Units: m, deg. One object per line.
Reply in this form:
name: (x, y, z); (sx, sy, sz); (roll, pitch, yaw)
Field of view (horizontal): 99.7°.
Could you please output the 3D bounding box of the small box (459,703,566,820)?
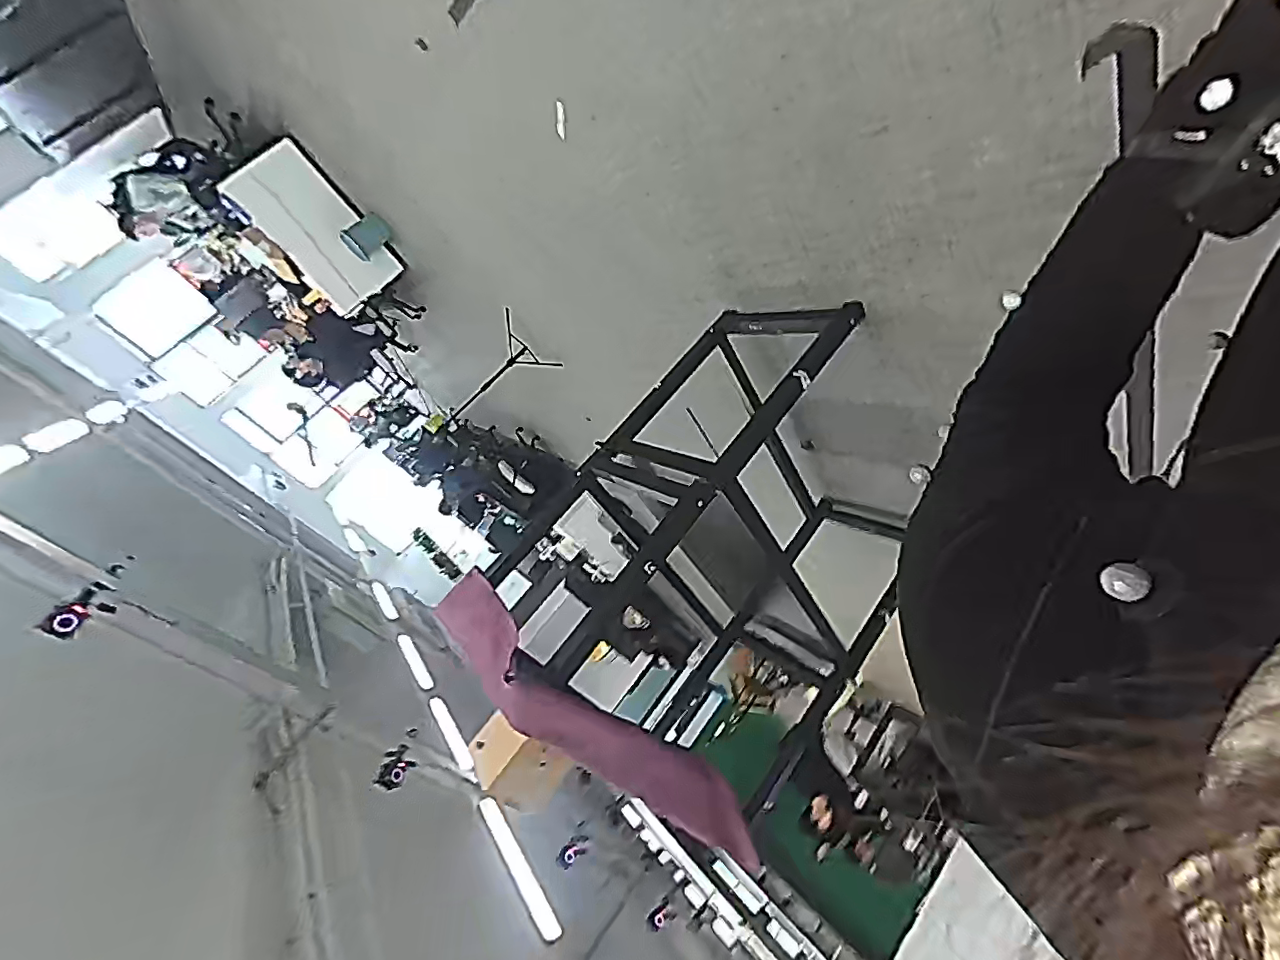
small box: (-0.311, 0.683, 1.338); (0.168, 0.176, 0.179); (49, 163, -28)
